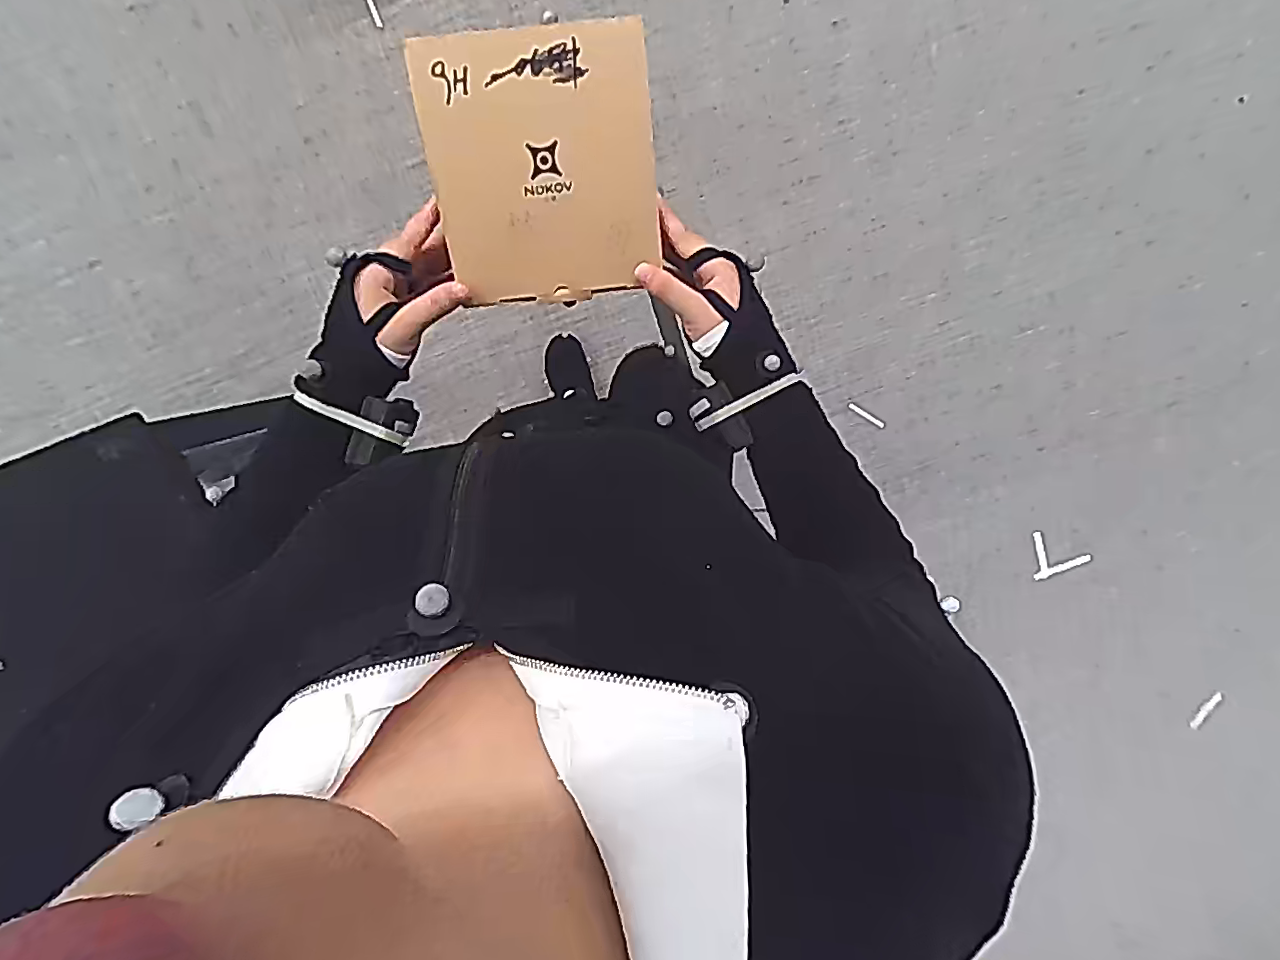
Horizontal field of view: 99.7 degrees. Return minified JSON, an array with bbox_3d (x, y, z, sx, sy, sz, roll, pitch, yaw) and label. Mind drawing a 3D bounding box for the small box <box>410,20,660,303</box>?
[{"bbox_3d":[-0.074,-0.264,0.476,0.168,0.176,0.179,-7,116,-2],"label":"small box"}]
